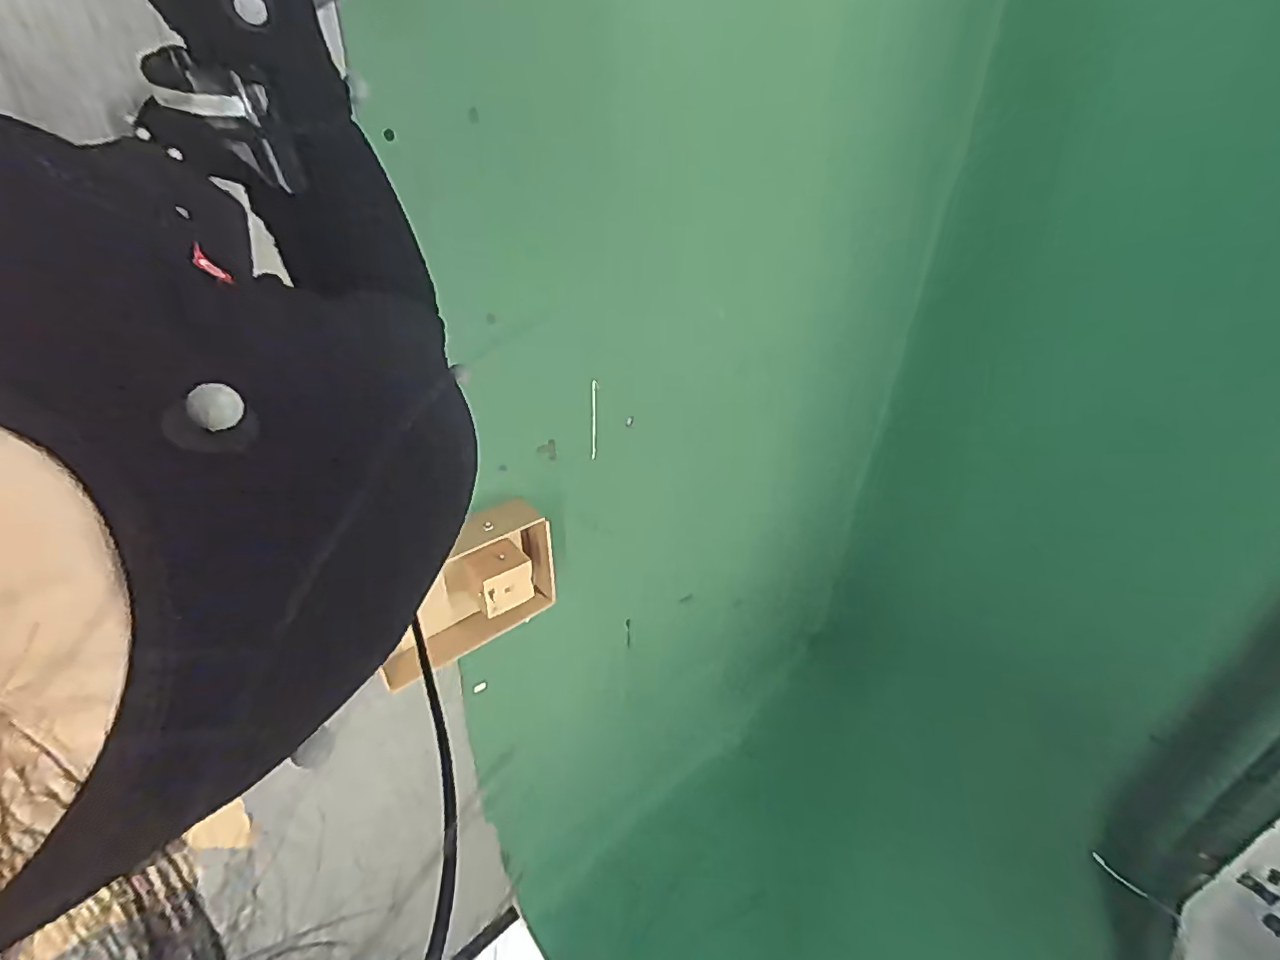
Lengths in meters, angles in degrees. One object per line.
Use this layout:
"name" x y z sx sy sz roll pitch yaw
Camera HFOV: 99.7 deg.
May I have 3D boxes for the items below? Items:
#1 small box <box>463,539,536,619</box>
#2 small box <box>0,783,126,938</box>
"small box" -0.472 0.326 1.827 0.179 0.176 0.168 -23 129 -35
"small box" -1.224 0.785 1.132 0.168 0.176 0.179 -25 130 -37
